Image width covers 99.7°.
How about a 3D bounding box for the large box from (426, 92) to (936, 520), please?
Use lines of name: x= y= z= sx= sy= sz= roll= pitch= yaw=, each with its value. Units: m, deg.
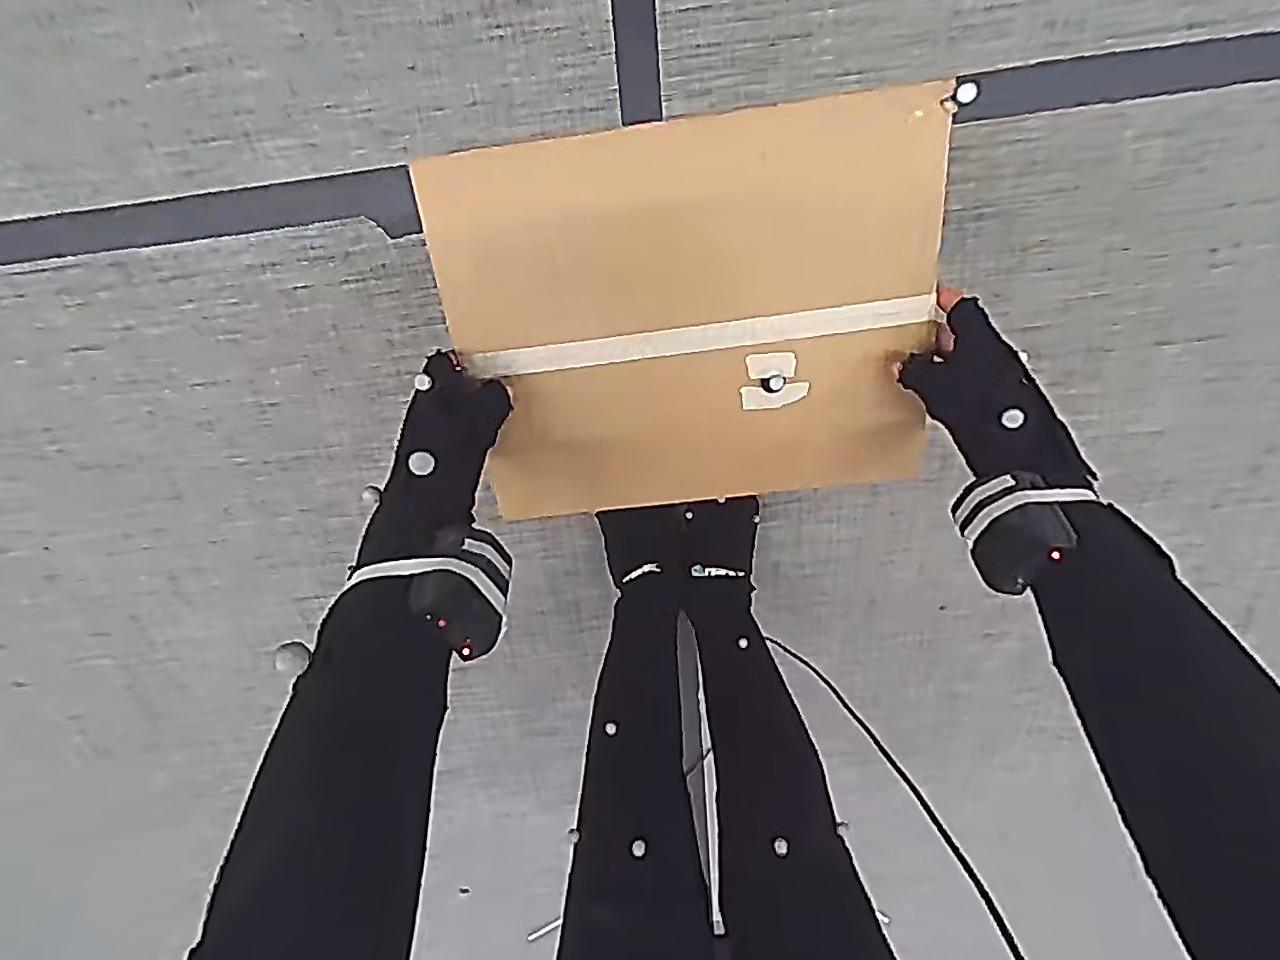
large box: x=0.045 y=-0.182 z=0.608 sx=0.408 sy=0.320 sz=0.320 roll=-7 pitch=114 yaw=3
